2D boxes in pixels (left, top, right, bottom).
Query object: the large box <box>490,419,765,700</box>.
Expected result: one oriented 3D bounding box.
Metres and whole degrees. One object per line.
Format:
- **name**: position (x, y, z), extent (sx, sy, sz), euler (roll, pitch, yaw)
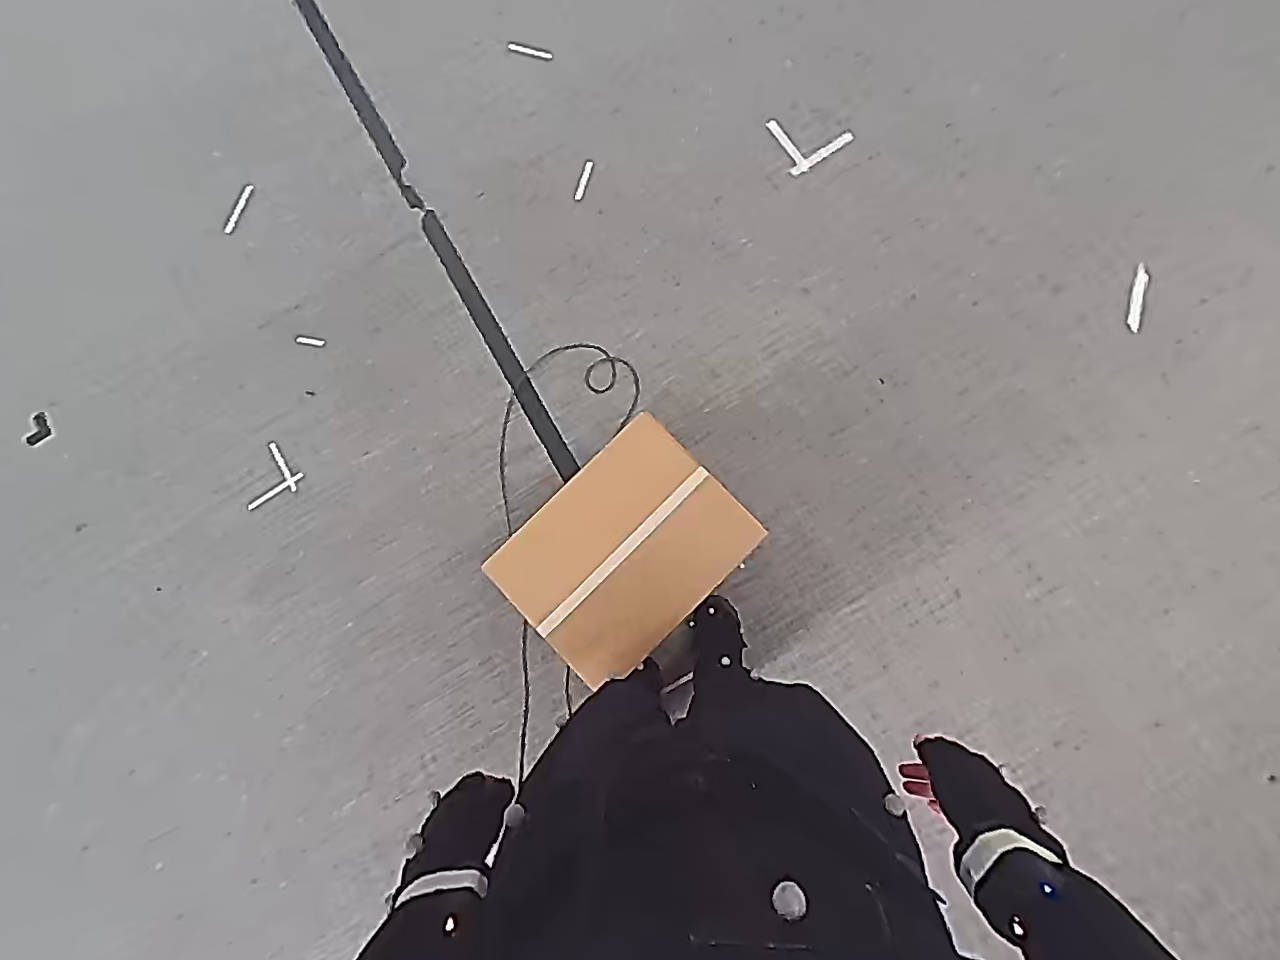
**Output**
- **large box**: position (-0.015, 0.149, 1.093), extent (0.408, 0.320, 0.320), euler (-44, 81, -3)
